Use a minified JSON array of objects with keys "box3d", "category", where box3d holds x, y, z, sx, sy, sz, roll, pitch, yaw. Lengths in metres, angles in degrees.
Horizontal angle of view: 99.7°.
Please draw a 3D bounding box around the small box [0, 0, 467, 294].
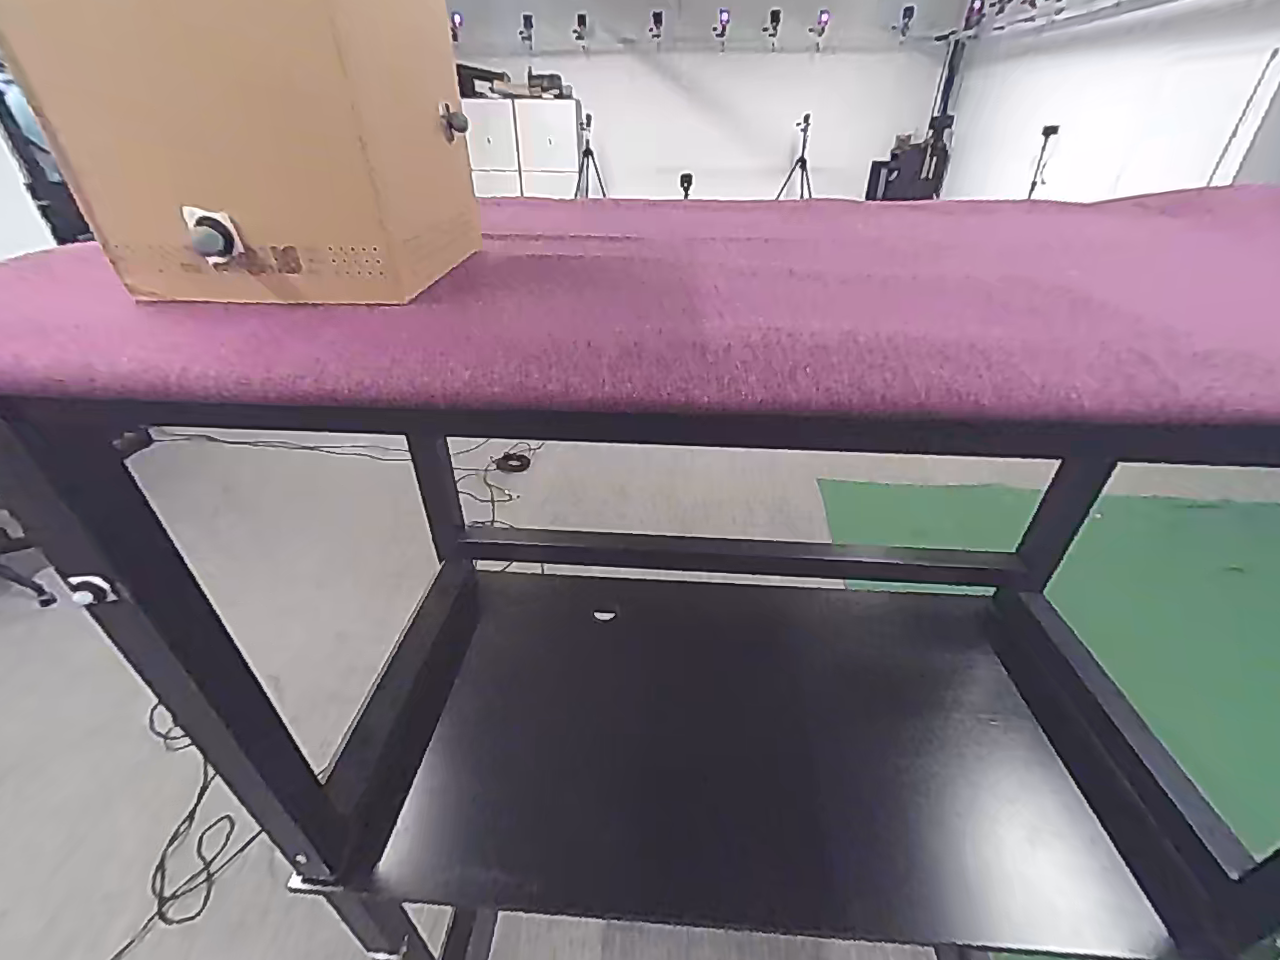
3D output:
[{"box3d":[-0.218,-0.224,0.335,0.168,0.176,0.179,-1,35,1],"category":"small box"}]
